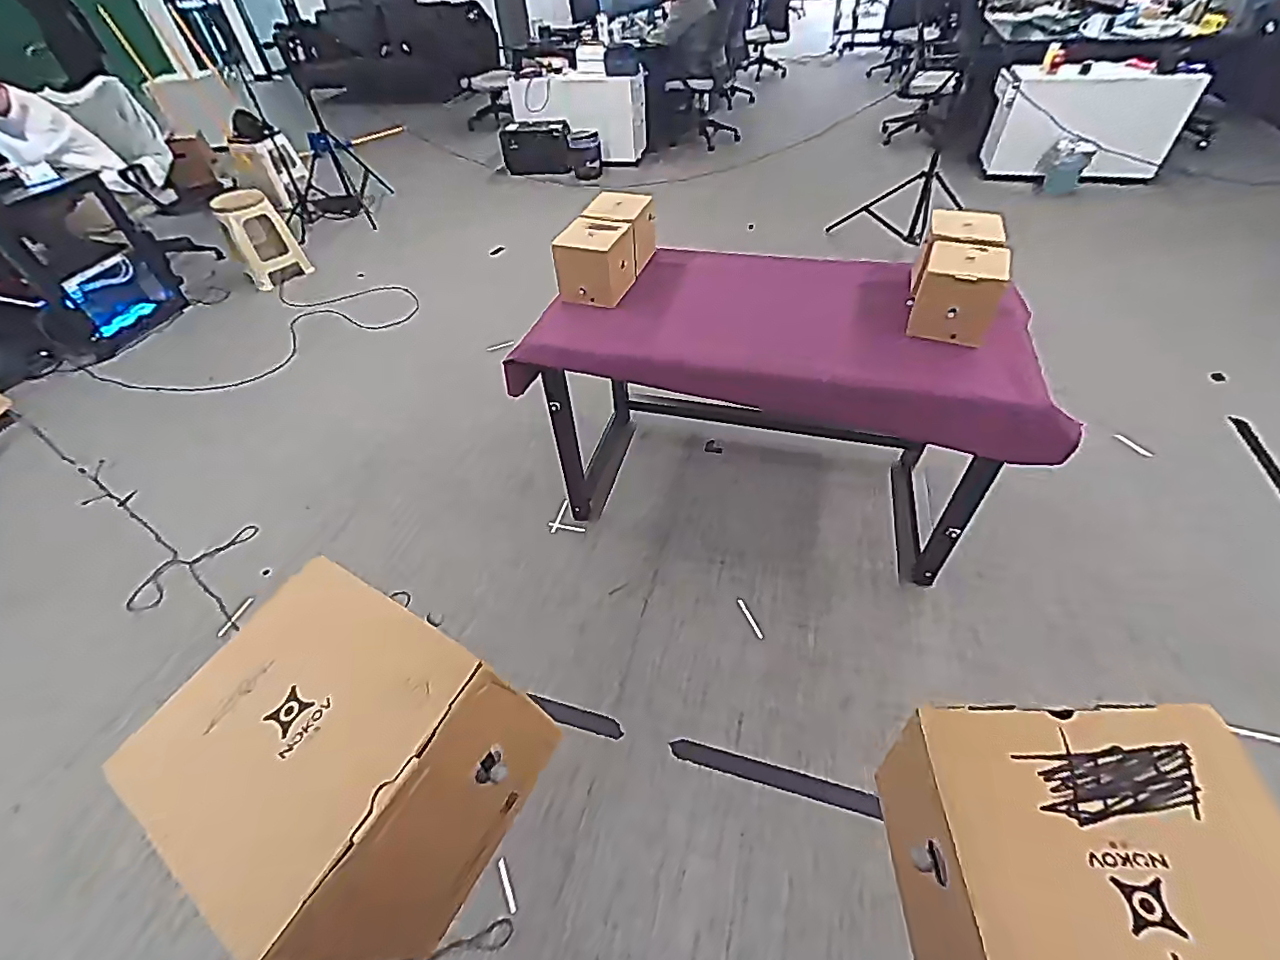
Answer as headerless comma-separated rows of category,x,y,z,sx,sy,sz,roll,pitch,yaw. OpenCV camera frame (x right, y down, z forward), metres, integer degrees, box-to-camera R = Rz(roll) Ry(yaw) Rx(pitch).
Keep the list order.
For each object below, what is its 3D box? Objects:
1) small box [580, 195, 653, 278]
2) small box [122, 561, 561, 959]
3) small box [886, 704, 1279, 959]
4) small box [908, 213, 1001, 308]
small box,-0.064,-0.734,1.628,0.168,0.176,0.179,13,50,16
small box,-0.183,0.192,0.382,0.179,0.176,0.168,20,57,28
small box,0.267,0.256,0.332,0.168,0.176,0.179,-5,48,9
small box,0.817,-0.578,1.421,0.168,0.176,0.179,13,48,15
